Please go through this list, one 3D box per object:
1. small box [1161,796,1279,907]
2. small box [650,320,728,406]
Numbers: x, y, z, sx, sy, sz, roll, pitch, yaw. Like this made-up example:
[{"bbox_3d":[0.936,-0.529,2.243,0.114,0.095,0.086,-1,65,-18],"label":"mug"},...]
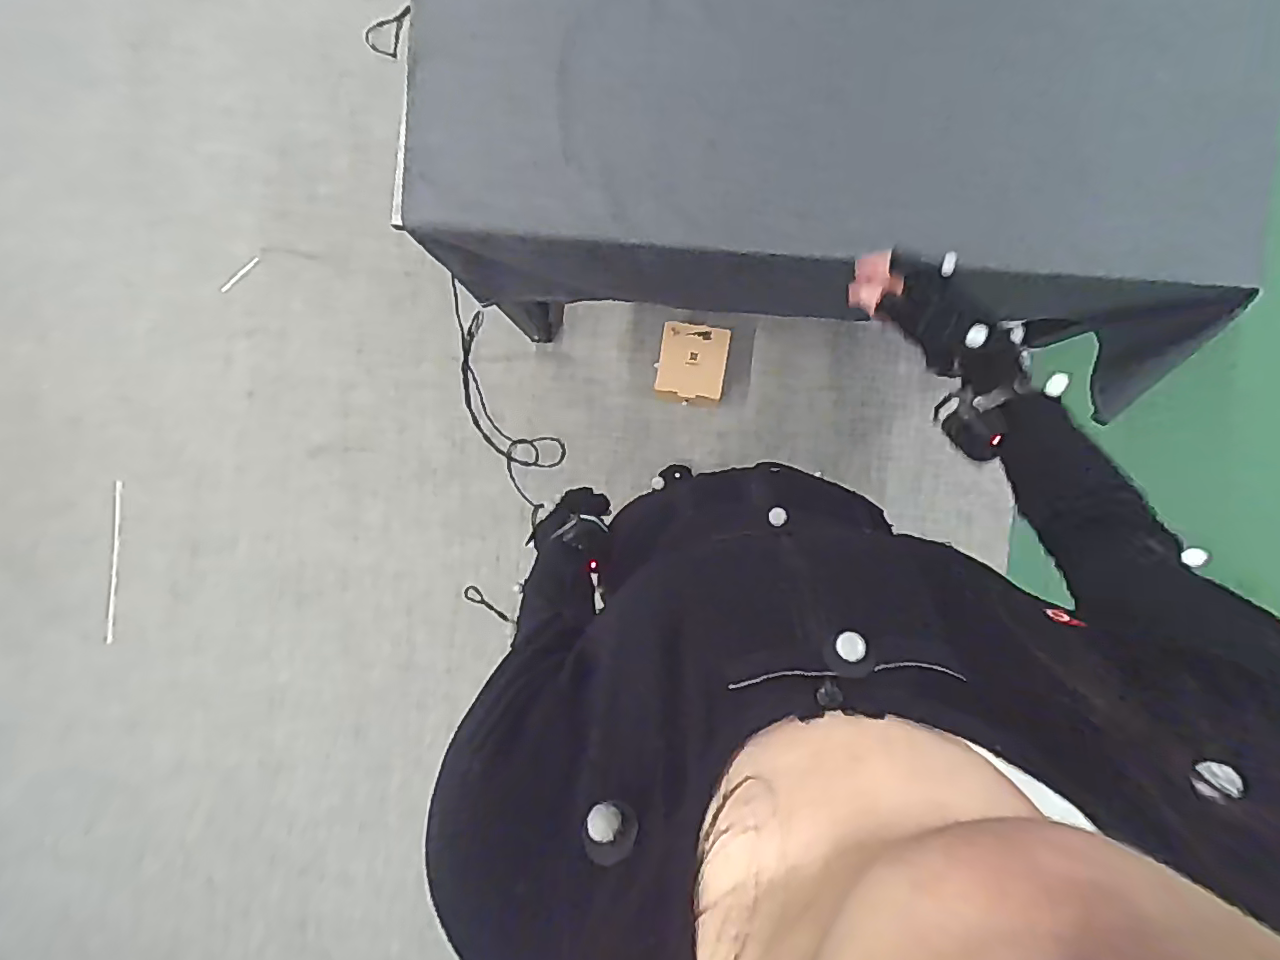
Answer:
[{"bbox_3d":[1.466,0.916,1.345,0.179,0.176,0.168,0,90,2],"label":"small box"},{"bbox_3d":[0.124,-0.293,1.394,0.168,0.176,0.179,9,91,3],"label":"small box"}]
